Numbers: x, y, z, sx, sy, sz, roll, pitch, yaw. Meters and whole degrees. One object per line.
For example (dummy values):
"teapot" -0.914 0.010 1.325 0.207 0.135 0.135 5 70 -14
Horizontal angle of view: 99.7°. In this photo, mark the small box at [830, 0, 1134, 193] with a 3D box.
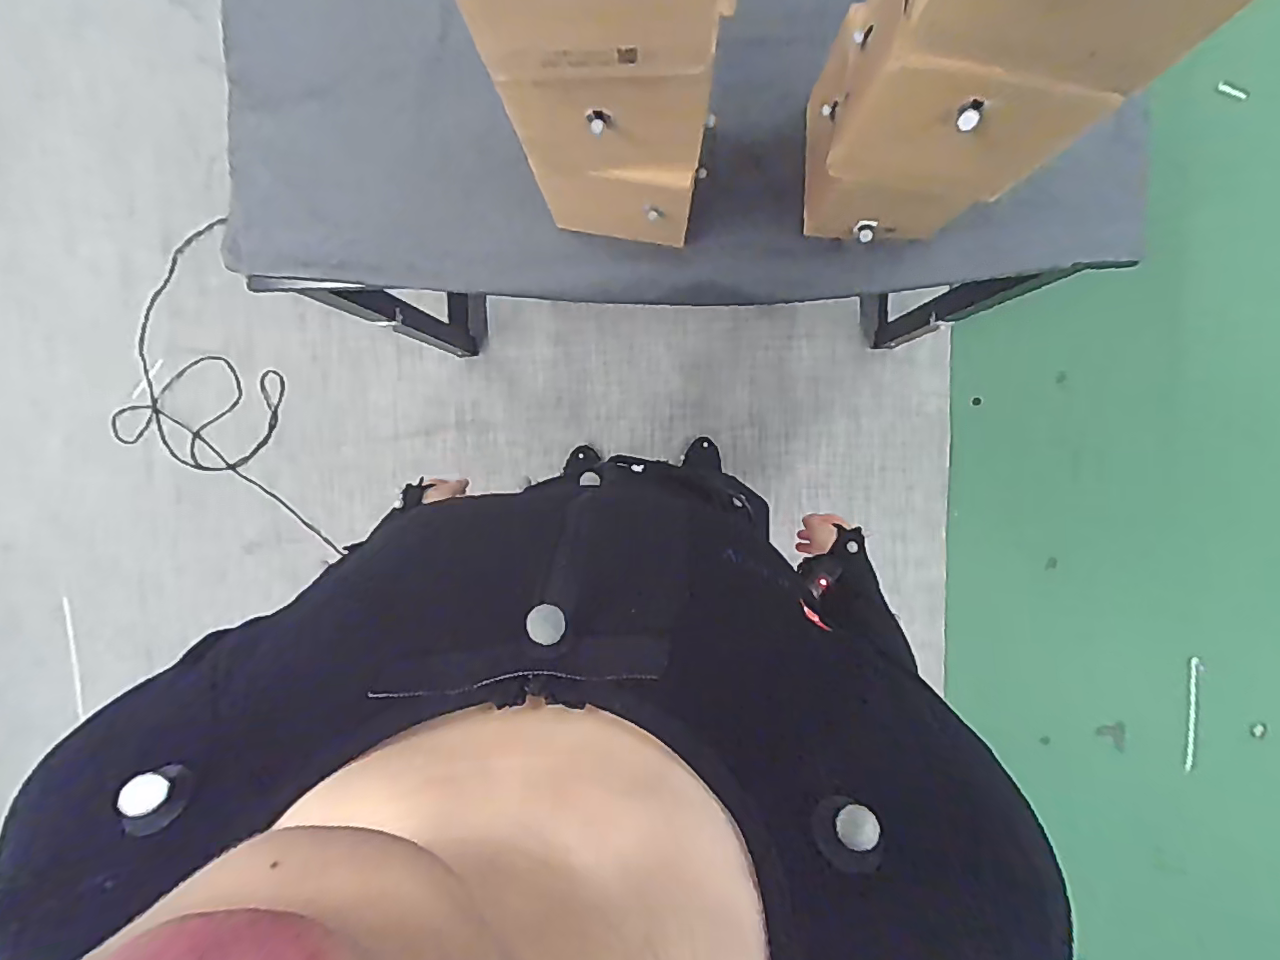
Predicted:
"small box" 0.288 -0.376 0.468 0.179 0.176 0.168 11 94 3

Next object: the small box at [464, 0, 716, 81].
"small box" -0.034 -0.379 0.315 0.168 0.176 0.179 0 93 2

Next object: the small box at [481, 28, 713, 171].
"small box" -0.029 -0.398 0.478 0.179 0.176 0.168 0 93 3

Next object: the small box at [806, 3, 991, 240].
"small box" 0.296 -0.400 0.629 0.168 0.176 0.179 0 94 3
